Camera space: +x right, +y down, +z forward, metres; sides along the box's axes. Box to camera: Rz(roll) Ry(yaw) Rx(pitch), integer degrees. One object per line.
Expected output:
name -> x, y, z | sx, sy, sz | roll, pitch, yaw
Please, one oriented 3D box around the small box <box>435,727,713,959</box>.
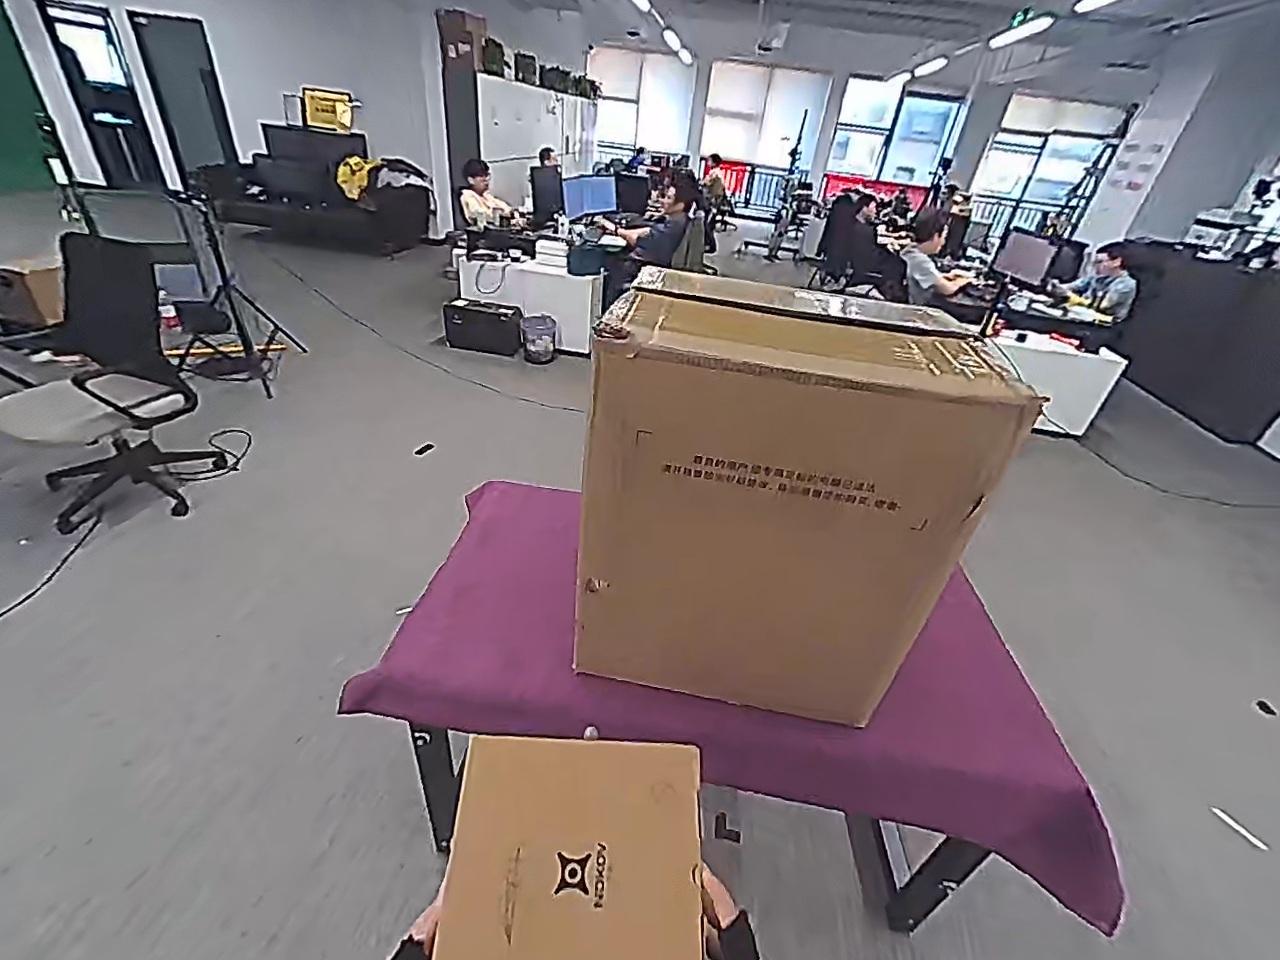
small box -> -0.050, 0.301, 0.430 | 0.179, 0.176, 0.168 | 4, 55, -6
